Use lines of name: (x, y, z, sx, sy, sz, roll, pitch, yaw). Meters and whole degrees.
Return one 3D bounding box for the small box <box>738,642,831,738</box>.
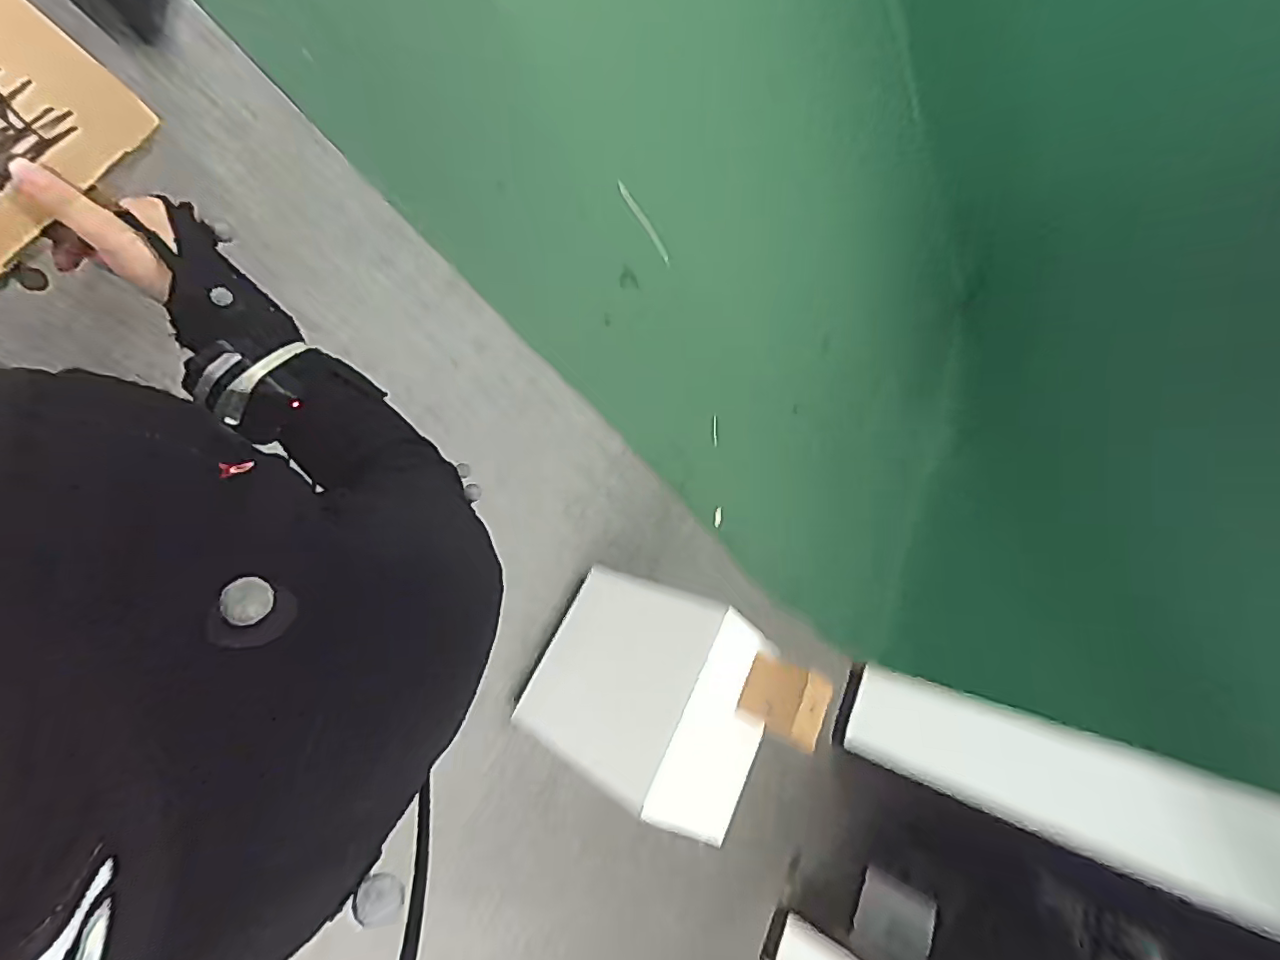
small box: (0.389, 0.567, 1.471, 0.168, 0.176, 0.179, 40, 68, -41)
